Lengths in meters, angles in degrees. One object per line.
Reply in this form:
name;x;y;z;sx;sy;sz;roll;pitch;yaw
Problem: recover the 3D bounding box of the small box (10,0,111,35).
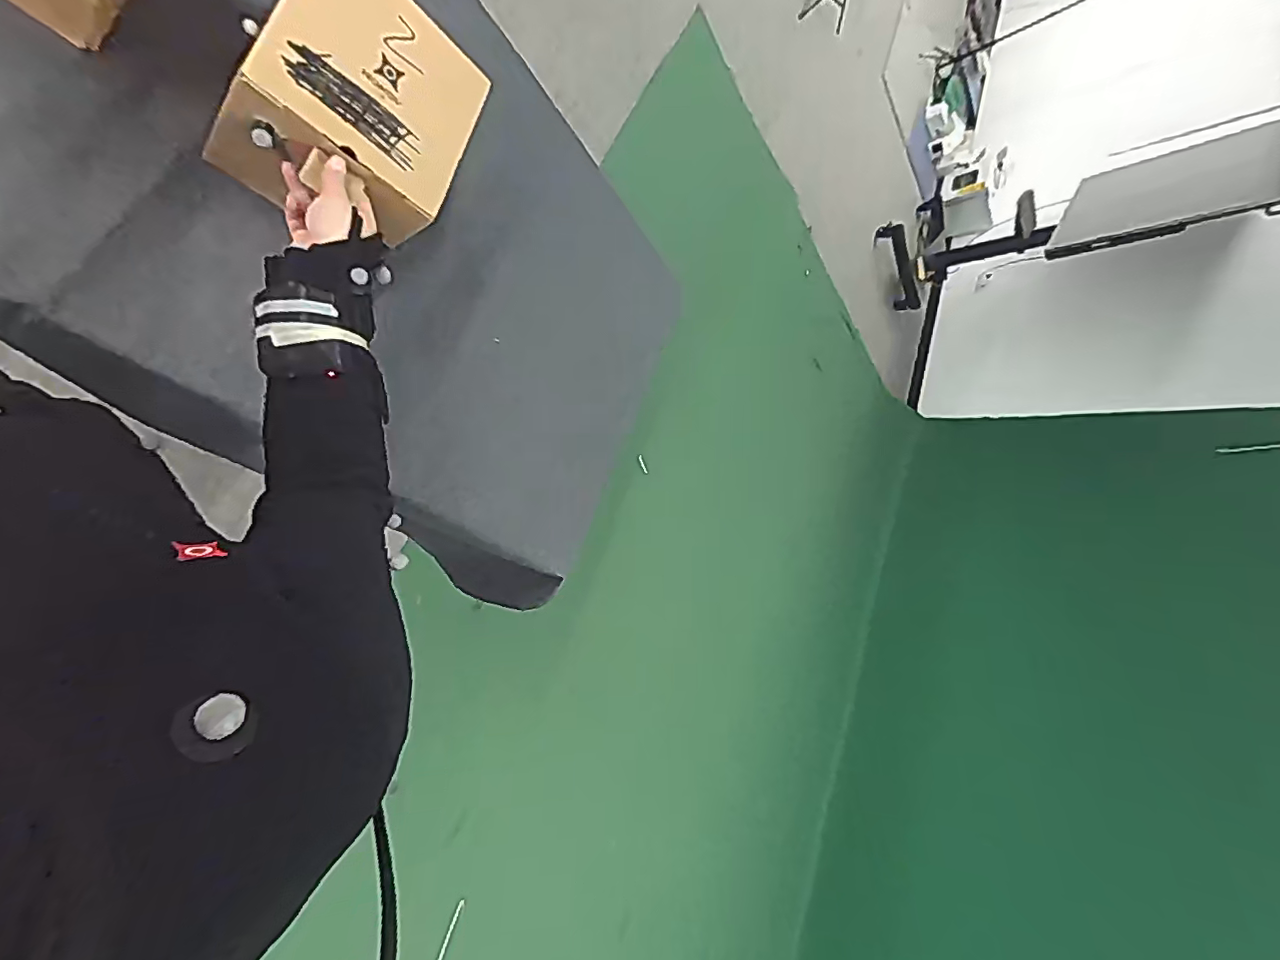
small box;-0.440;-0.472;0.365;0.168;0.176;0.179;28;72;-45
